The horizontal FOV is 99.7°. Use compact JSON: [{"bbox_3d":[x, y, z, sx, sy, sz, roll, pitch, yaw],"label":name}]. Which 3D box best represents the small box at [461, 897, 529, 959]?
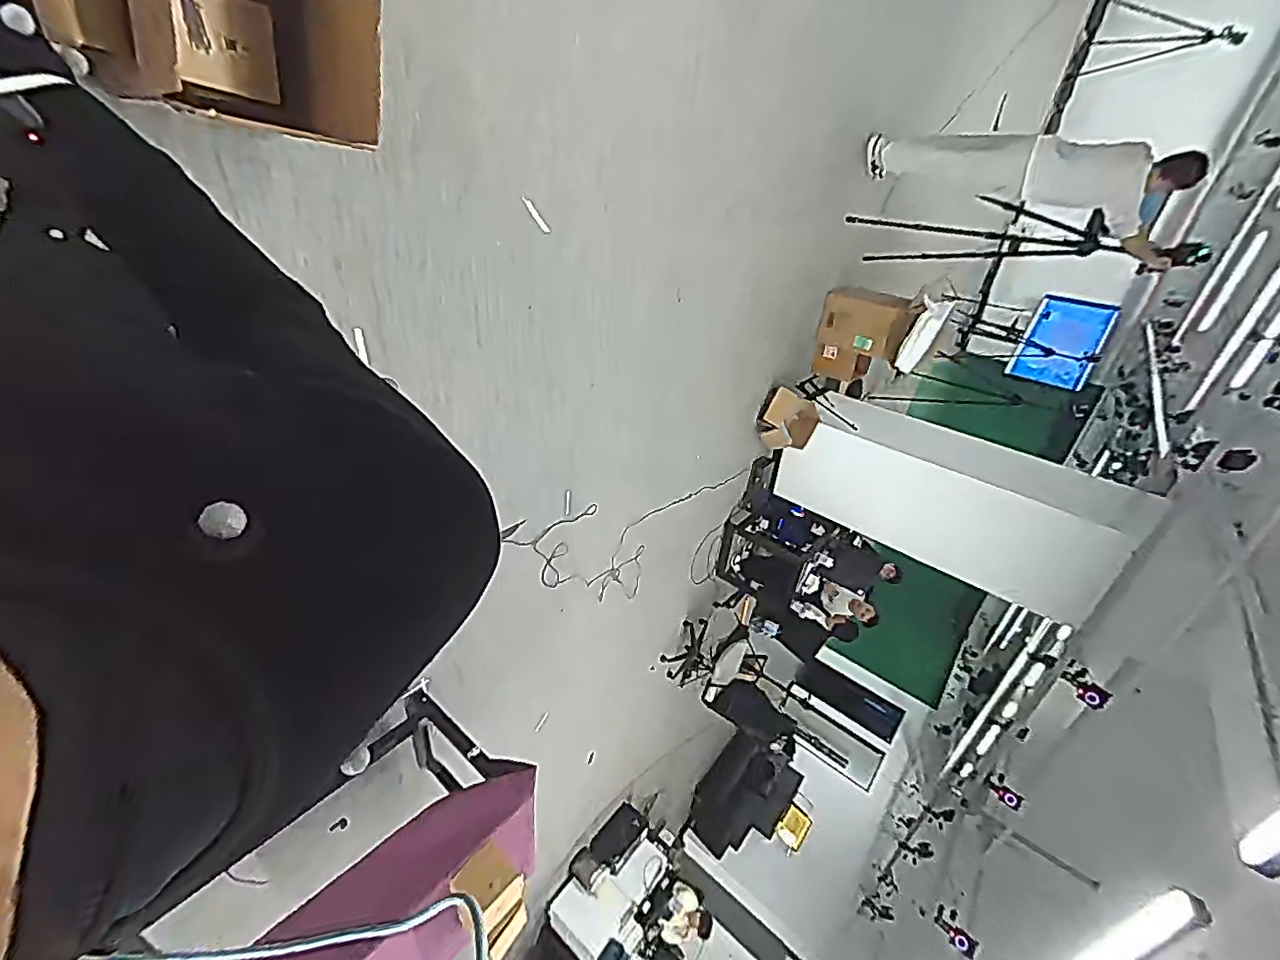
[{"bbox_3d":[-0.537,1.618,2.009,0.179,0.176,0.168,-32,136,-42],"label":"small box"}]

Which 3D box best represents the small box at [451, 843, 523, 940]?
[{"bbox_3d":[-0.527,1.417,1.875,0.179,0.176,0.168,-30,135,-43],"label":"small box"}]
